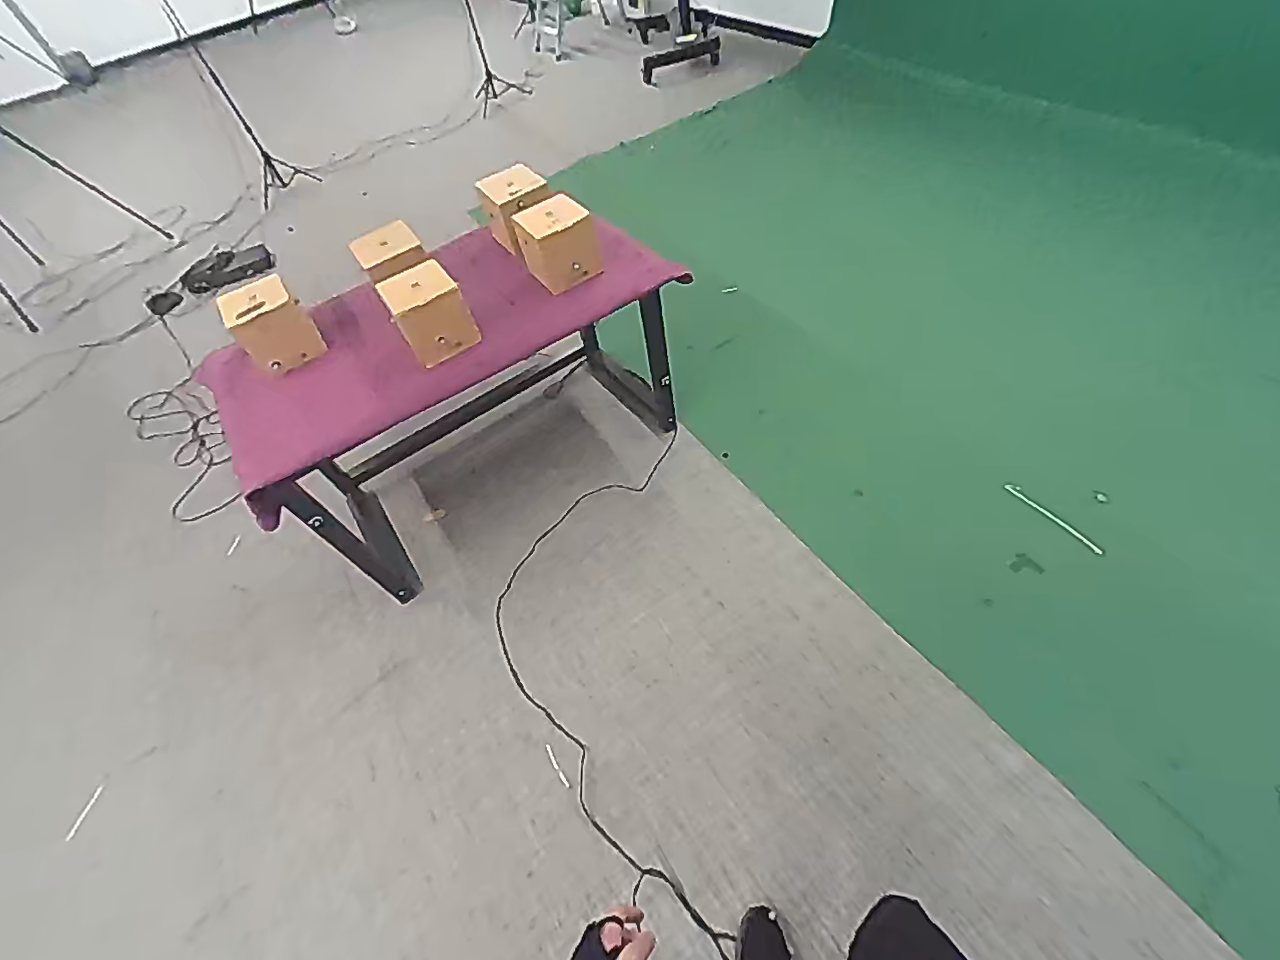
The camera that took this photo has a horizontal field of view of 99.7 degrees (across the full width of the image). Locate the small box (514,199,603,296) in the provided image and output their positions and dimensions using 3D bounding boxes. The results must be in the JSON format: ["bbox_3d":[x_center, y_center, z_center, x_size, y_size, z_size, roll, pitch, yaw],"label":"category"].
[{"bbox_3d":[-0.223,-0.647,1.513,0.168,0.176,0.179,-31,54,-12],"label":"small box"}]

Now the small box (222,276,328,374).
[{"bbox_3d":[-0.984,-0.413,1.468,0.168,0.176,0.179,-32,55,-15],"label":"small box"}]

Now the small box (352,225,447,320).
[{"bbox_3d":[-0.688,-0.594,1.557,0.168,0.176,0.179,-32,56,-13],"label":"small box"}]

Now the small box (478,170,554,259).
[{"bbox_3d":[-0.365,-0.812,1.660,0.168,0.176,0.179,-33,56,-14],"label":"small box"}]
